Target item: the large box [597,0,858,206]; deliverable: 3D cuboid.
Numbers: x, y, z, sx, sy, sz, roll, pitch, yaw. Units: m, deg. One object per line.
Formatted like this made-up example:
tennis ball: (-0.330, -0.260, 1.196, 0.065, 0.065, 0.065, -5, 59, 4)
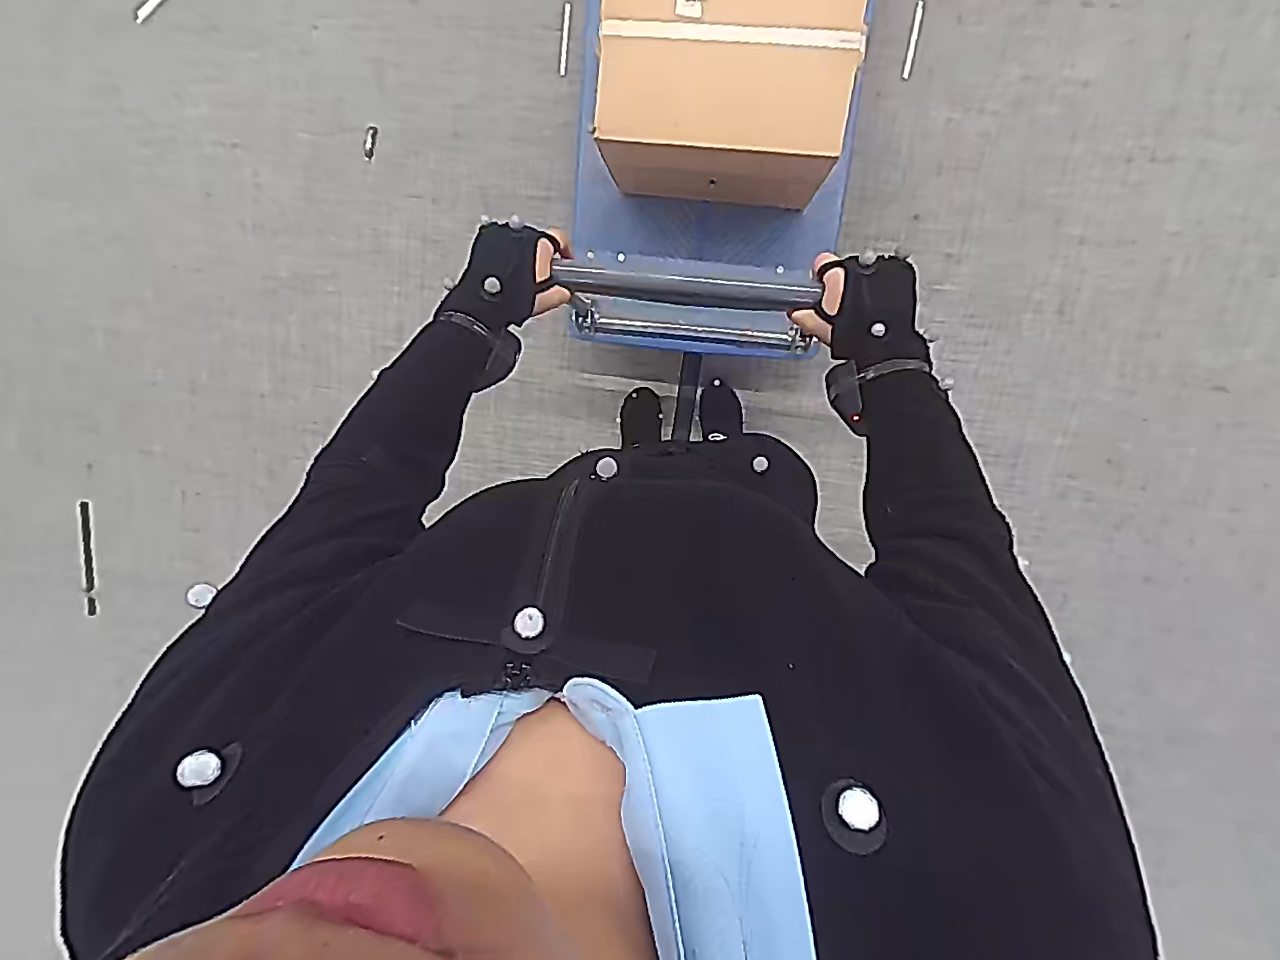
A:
large box: (0.155, -0.726, 1.013, 0.408, 0.320, 0.320, 7, 102, 6)
